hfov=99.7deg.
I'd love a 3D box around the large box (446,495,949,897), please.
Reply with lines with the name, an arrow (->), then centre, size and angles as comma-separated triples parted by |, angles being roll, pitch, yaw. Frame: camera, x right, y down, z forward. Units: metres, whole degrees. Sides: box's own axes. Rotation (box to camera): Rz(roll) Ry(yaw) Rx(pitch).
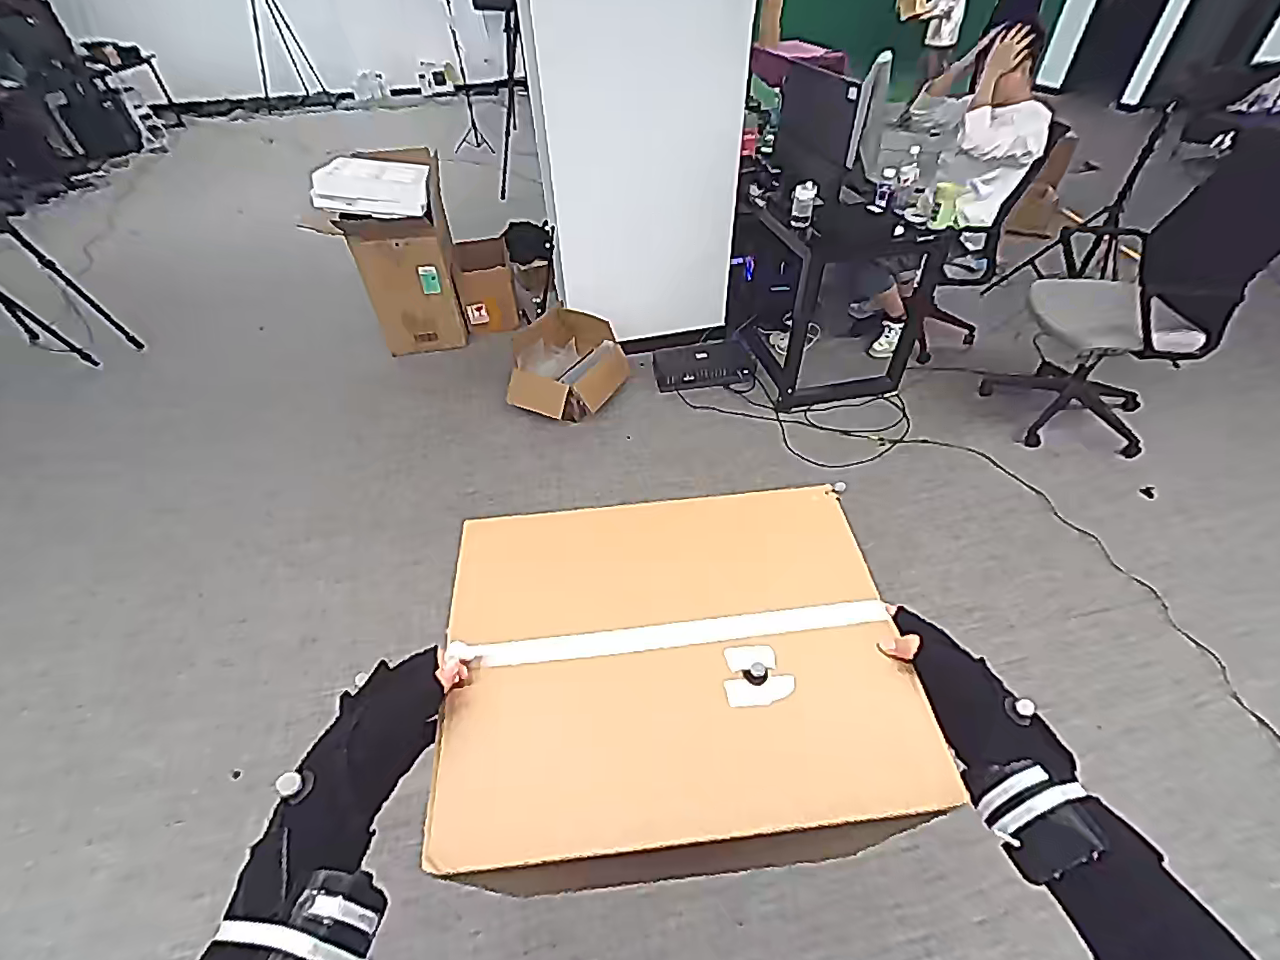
large box -> 0.035, 0.249, 0.621 | 0.408, 0.320, 0.320 | -5, 50, -3
